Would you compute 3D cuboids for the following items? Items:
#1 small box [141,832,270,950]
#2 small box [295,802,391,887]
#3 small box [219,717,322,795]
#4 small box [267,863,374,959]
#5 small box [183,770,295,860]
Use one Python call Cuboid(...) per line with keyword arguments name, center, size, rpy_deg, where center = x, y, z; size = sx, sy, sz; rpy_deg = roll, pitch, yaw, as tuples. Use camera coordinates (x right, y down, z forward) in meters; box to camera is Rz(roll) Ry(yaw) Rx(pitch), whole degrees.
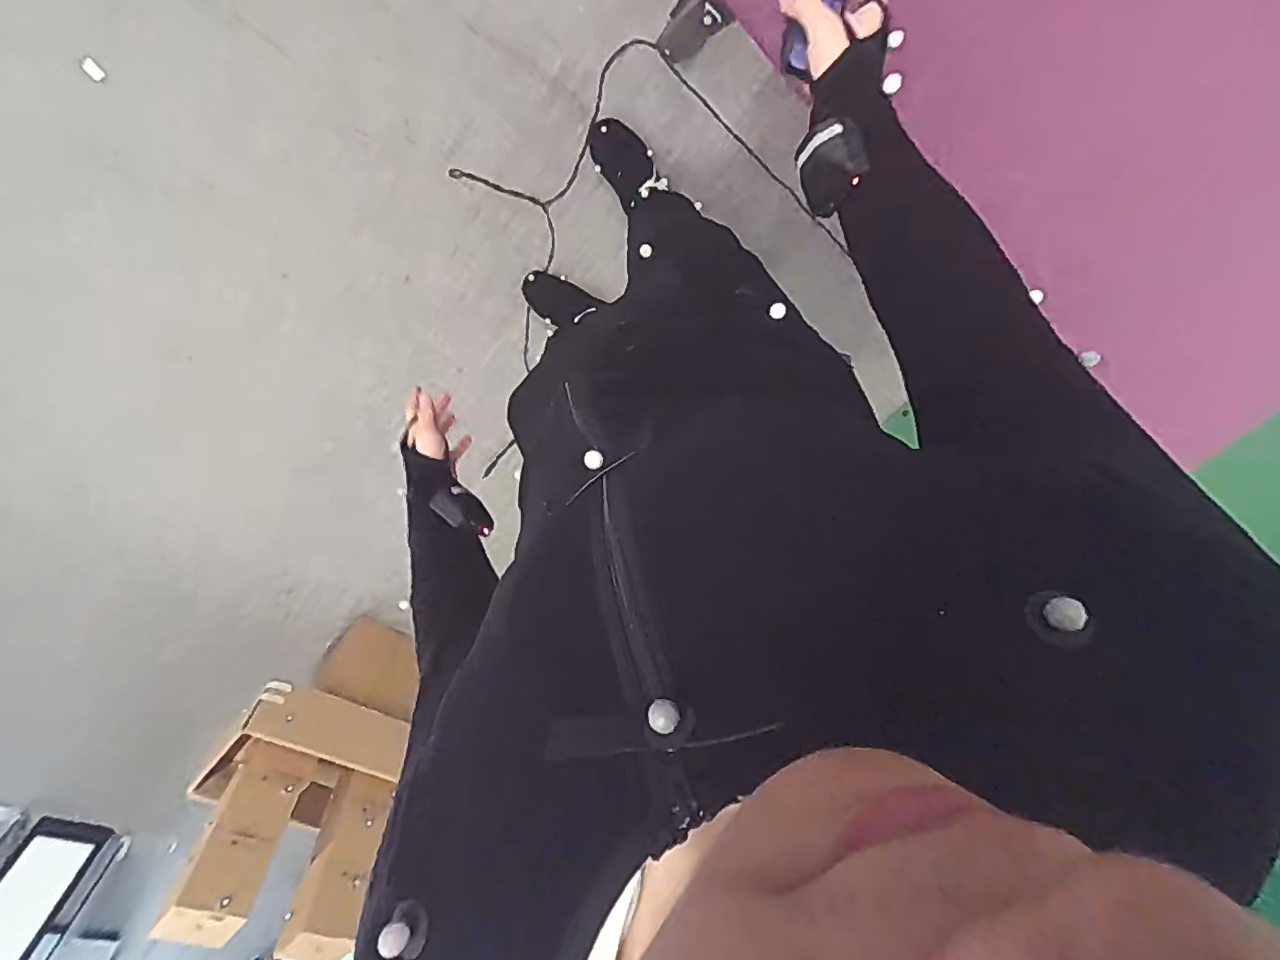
Cuboid(name="small box", center=(-1.057, 1.009, 1.330), size=(0.168, 0.176, 0.179), rpy_deg=(34, 112, -24))
Cuboid(name="small box", center=(-0.866, 1.090, 1.595), size=(0.168, 0.176, 0.179), rpy_deg=(34, 112, -25))
Cuboid(name="small box", center=(-1.092, 0.849, 1.614), size=(0.179, 0.176, 0.168), rpy_deg=(-42, 117, 17))
Cuboid(name="small box", center=(-0.849, 1.175, 1.457), size=(0.168, 0.176, 0.179), rpy_deg=(35, 113, -25))
Cuboid(name="small box", center=(-1.077, 0.926, 1.470), size=(0.168, 0.176, 0.179), rpy_deg=(34, 112, -24))
